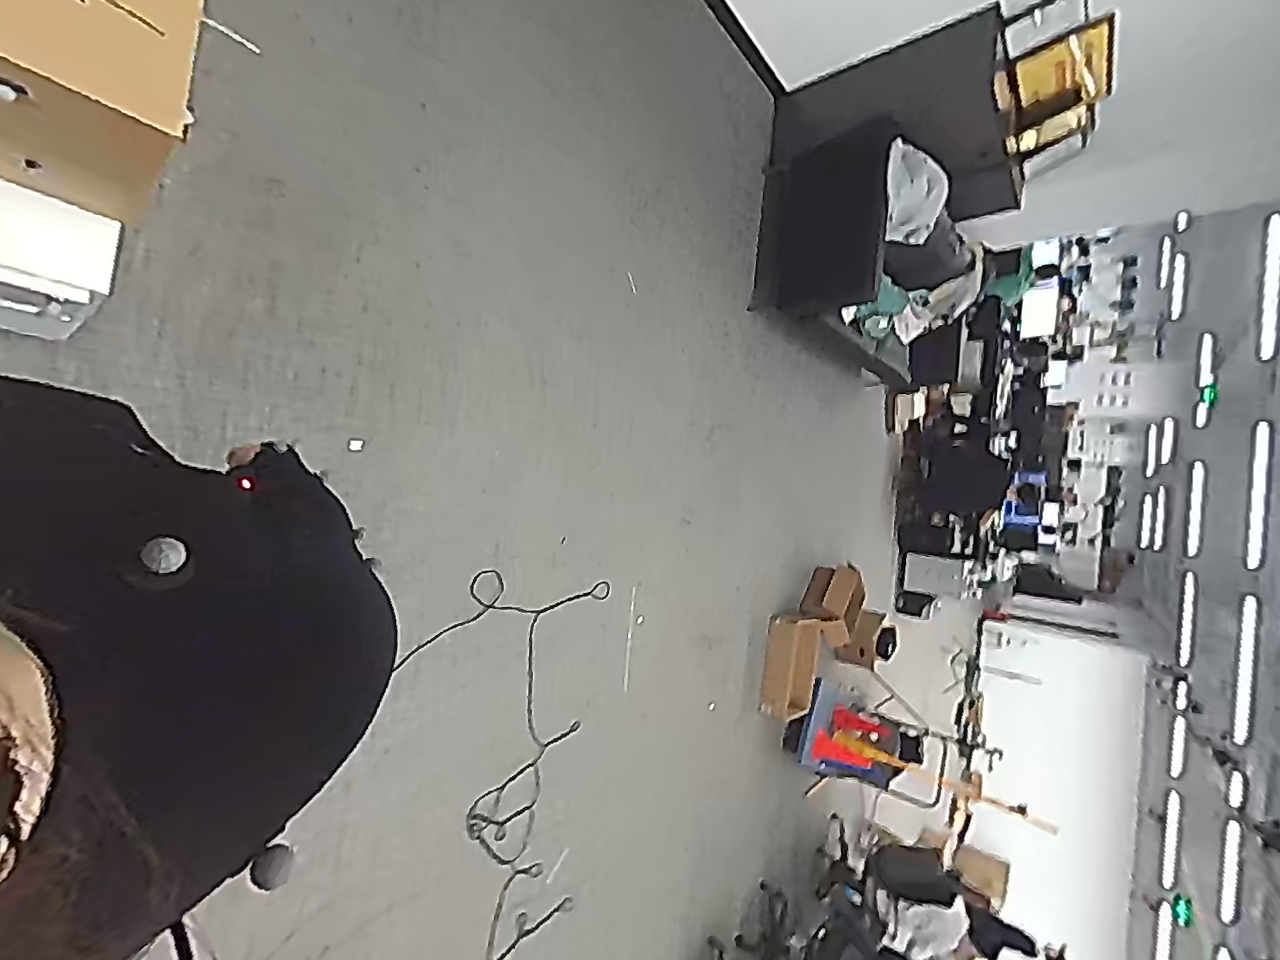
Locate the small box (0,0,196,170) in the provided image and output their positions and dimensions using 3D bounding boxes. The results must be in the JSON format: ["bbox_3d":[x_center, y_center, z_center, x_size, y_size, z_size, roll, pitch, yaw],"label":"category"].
[{"bbox_3d":[-0.509,-0.401,0.456,0.179,0.176,0.168,11,85,-50],"label":"small box"}]
